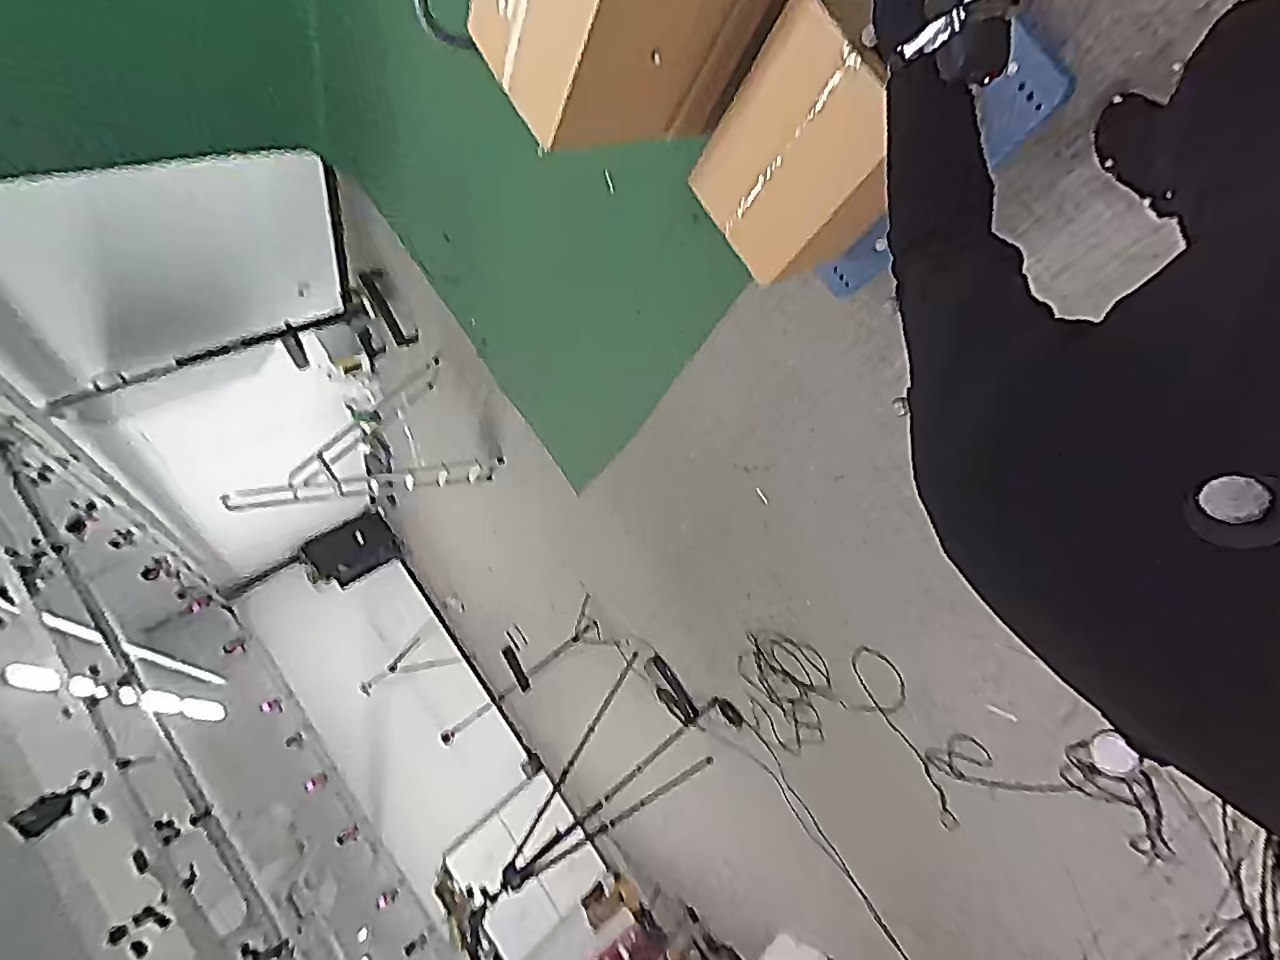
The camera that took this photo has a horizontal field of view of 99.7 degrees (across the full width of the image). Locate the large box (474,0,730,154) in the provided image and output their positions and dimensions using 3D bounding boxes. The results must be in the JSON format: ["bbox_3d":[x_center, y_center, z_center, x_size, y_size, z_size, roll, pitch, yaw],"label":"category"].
[{"bbox_3d":[-0.061,-0.894,0.974,0.320,0.320,0.408,58,149,4],"label":"large box"}]
